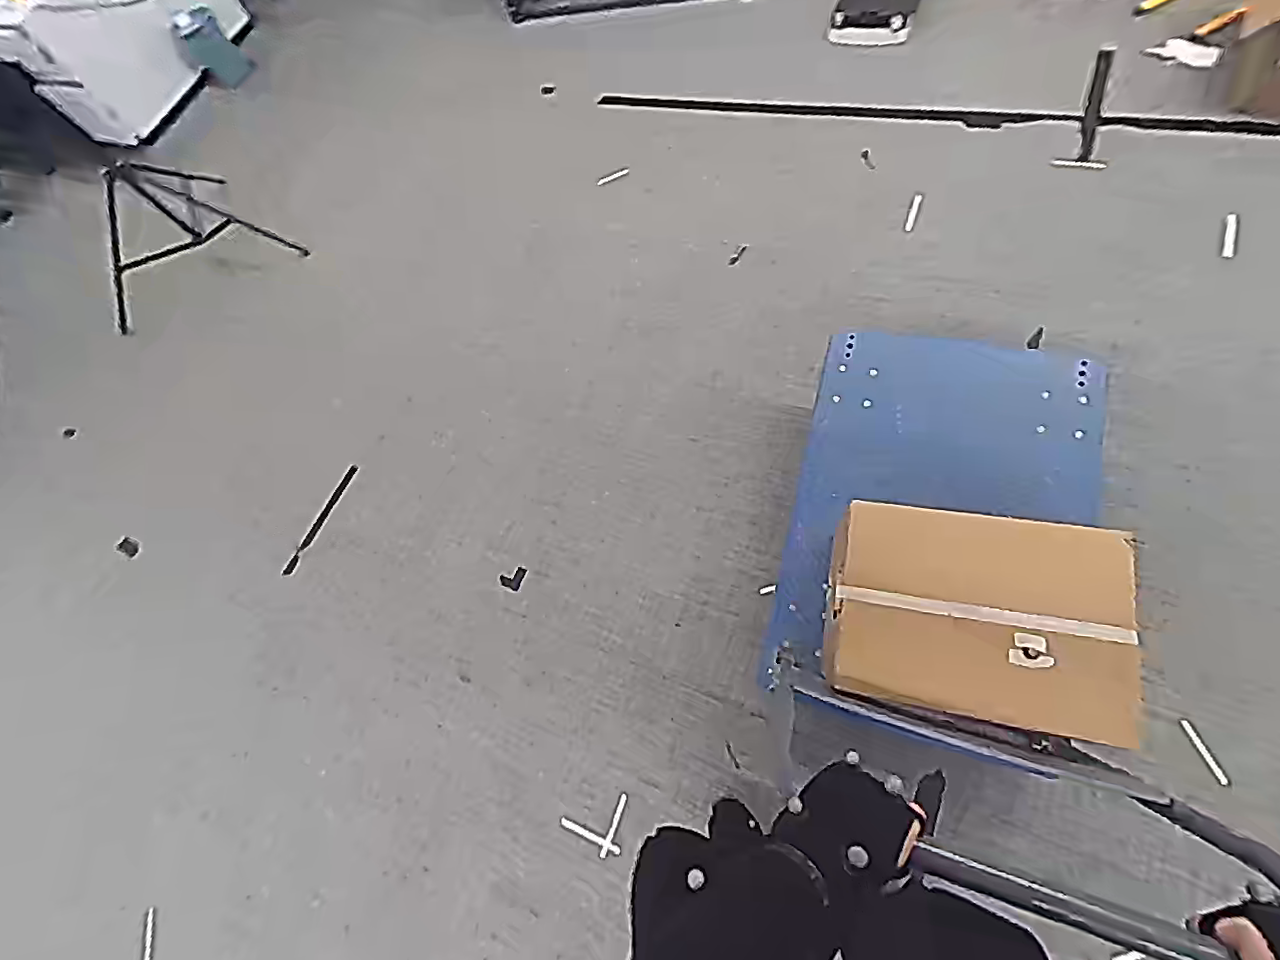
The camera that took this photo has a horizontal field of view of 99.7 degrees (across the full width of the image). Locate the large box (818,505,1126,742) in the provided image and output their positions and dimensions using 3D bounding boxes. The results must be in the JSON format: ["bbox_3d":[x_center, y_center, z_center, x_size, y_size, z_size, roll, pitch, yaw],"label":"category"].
[{"bbox_3d":[0.557,0.248,0.992,0.408,0.320,0.320,7,77,15],"label":"large box"}]
